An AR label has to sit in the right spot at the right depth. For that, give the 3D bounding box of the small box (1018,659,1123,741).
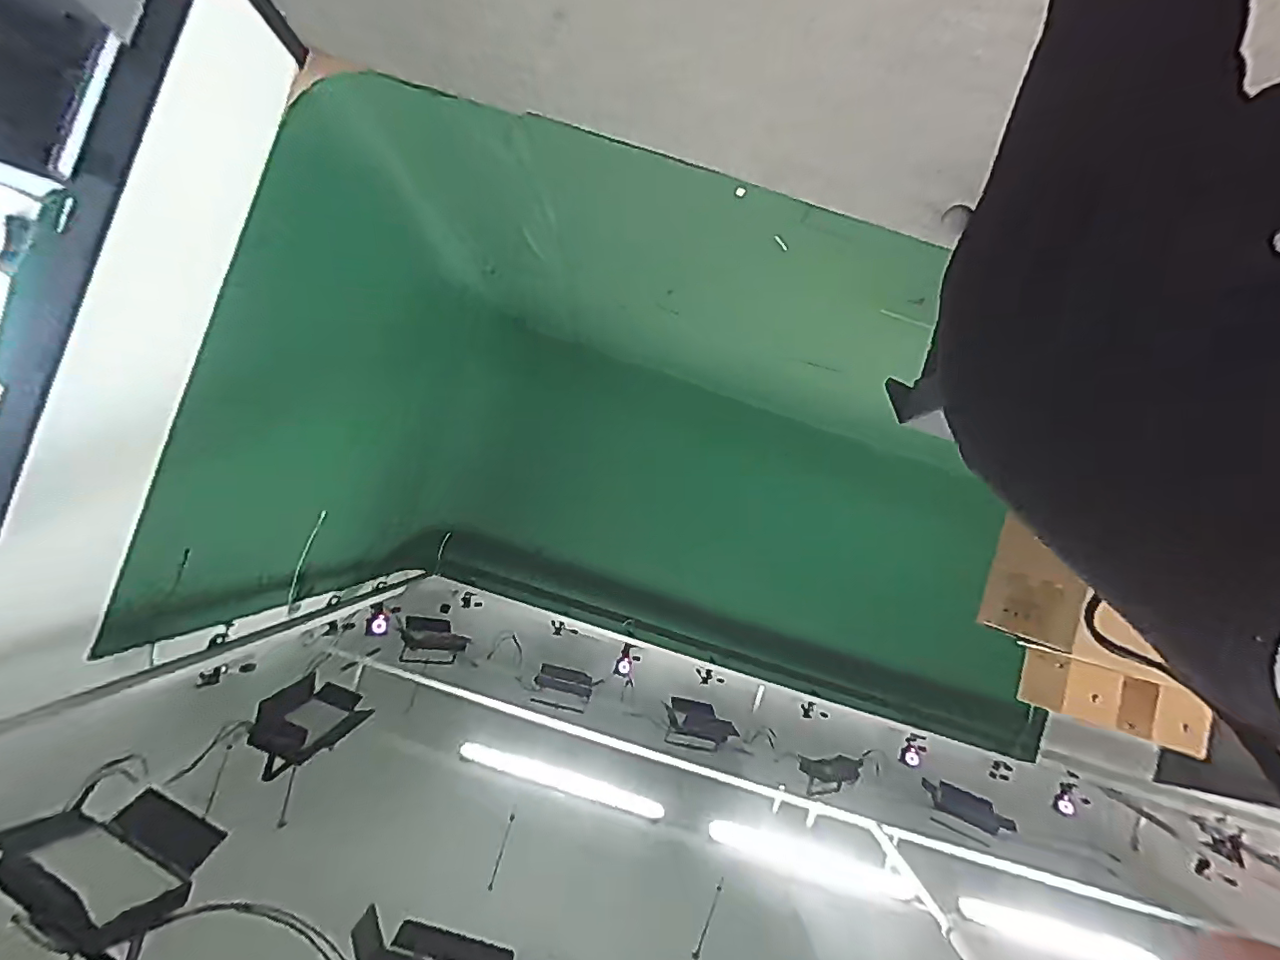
[{"bbox_3d":[1.304,0.658,1.641,0.179,0.176,0.168,18,172,-3],"label":"small box"}]

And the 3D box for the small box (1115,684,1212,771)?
[{"bbox_3d":[1.550,0.735,1.624,0.179,0.176,0.168,18,172,-2],"label":"small box"}]
